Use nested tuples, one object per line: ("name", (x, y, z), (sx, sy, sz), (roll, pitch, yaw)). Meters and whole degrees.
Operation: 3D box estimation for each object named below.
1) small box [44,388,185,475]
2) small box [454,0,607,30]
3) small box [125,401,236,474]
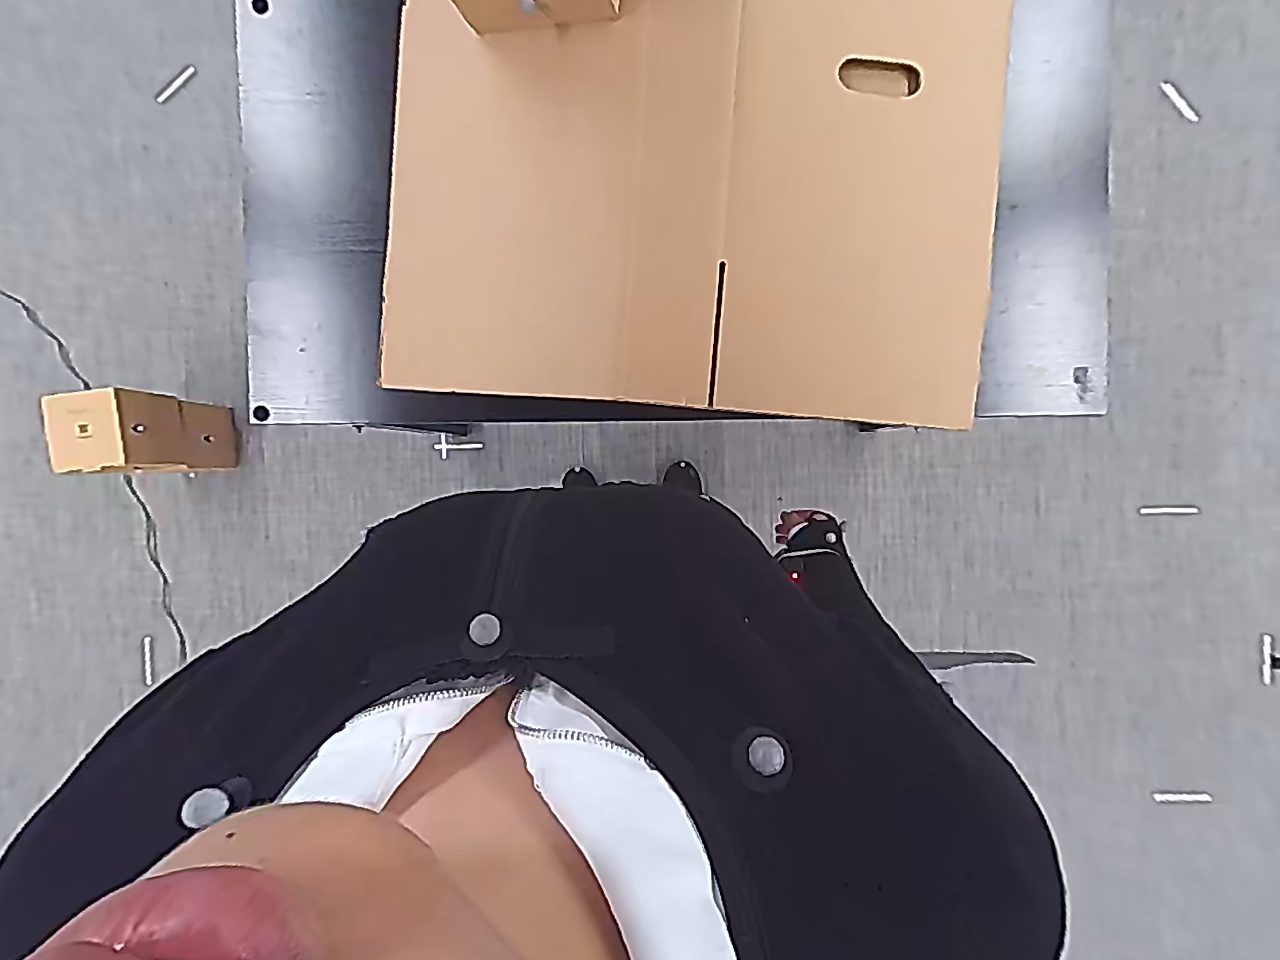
("small box", (-1.221, -0.110, 1.271), (0.168, 0.176, 0.179), (-7, 91, 0))
("small box", (-0.117, -0.581, 0.518), (0.179, 0.176, 0.168), (6, 91, 13))
("small box", (-1.218, -0.108, 1.434), (0.168, 0.176, 0.179), (-5, 92, 1))
